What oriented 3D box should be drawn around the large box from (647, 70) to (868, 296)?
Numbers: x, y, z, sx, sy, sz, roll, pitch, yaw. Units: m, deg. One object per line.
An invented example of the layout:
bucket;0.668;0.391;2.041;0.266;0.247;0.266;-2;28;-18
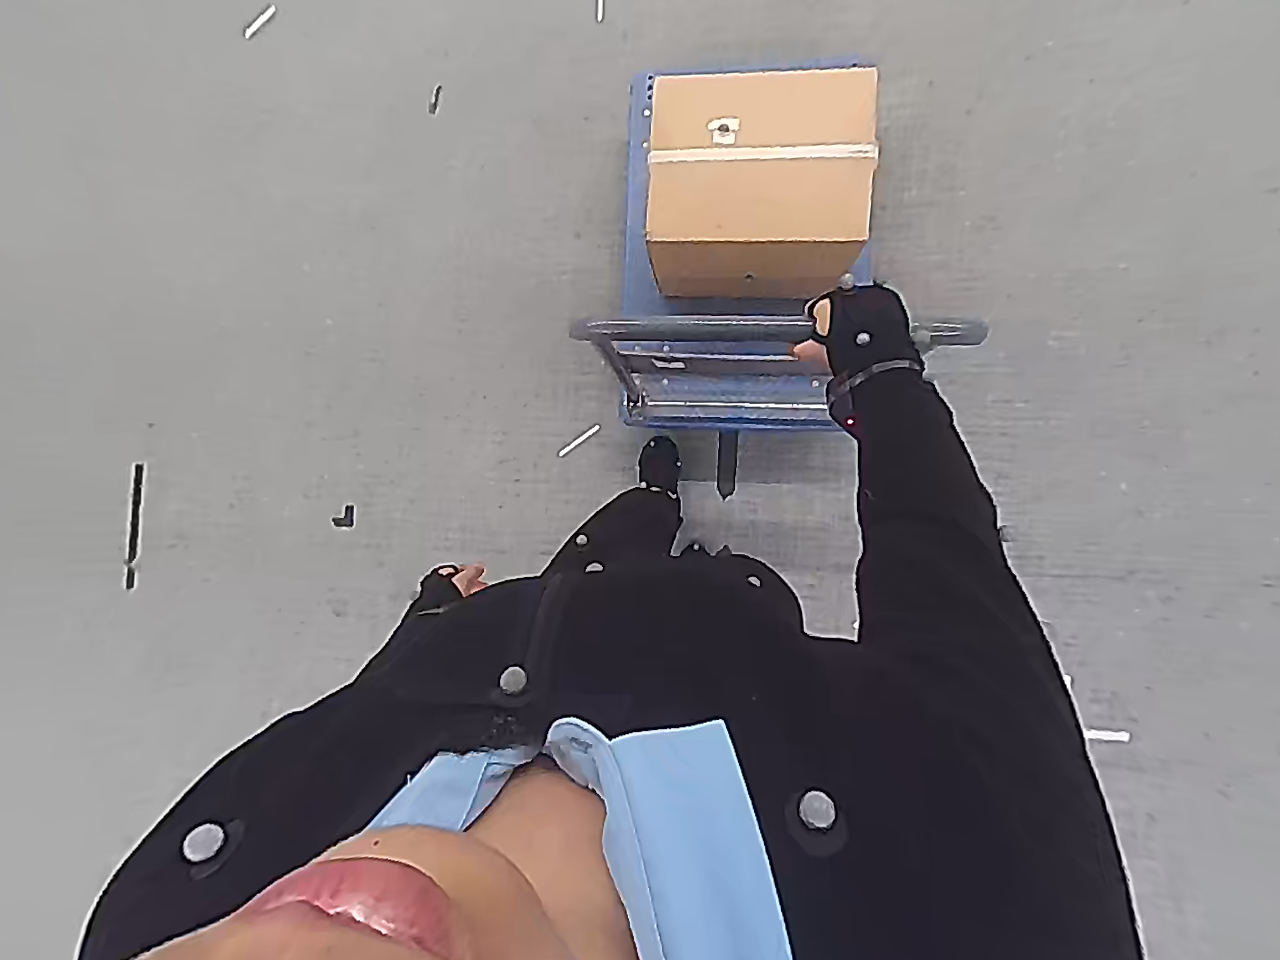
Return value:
large box;0.238;-0.597;1.156;0.408;0.320;0.320;2;89;9
